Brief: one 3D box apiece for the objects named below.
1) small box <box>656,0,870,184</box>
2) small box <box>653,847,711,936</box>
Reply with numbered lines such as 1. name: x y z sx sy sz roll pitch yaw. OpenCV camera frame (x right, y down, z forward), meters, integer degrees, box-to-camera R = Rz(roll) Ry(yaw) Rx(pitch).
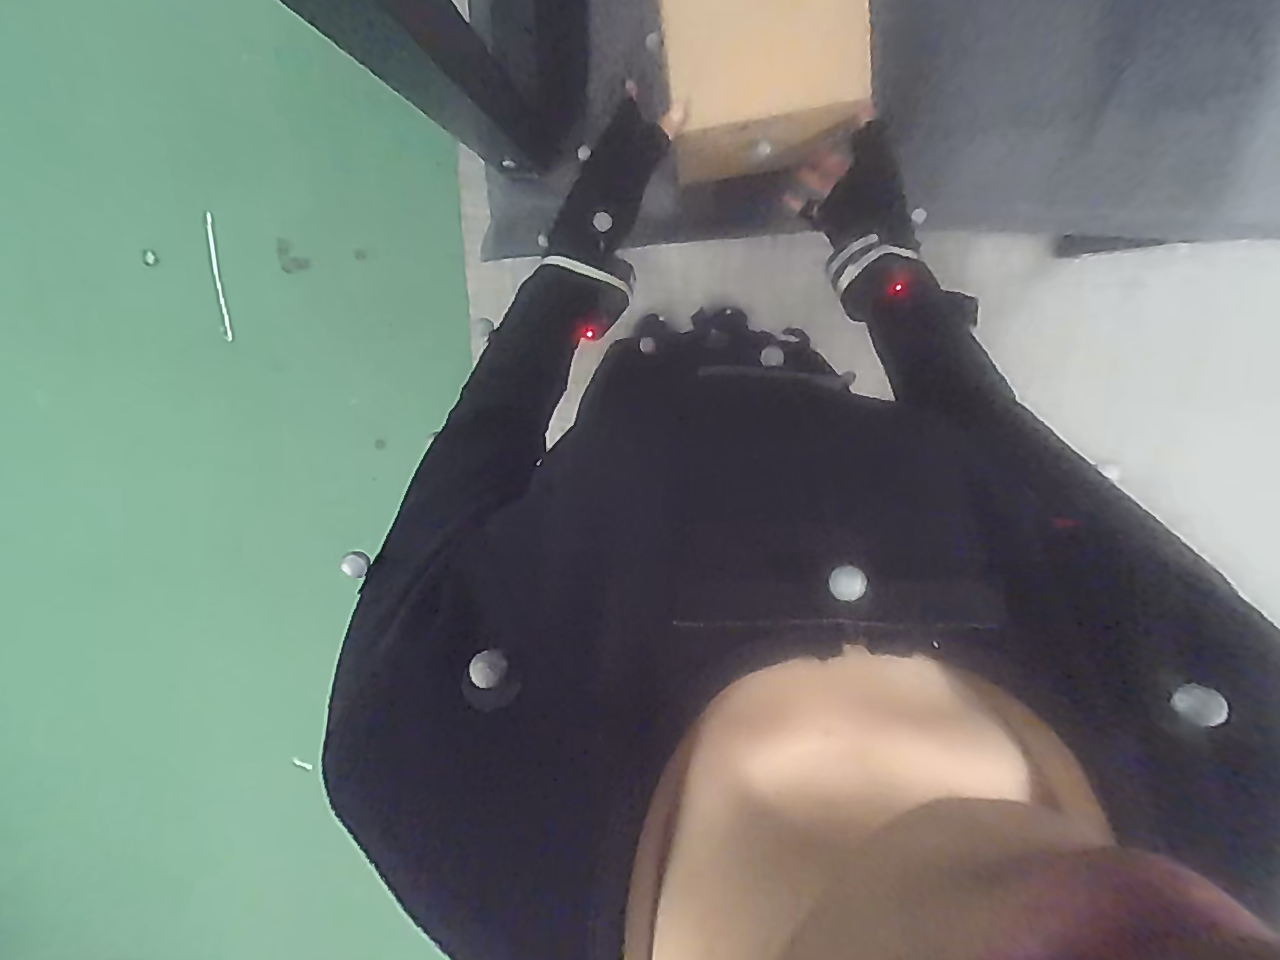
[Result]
1. small box: 0.106 -0.412 0.513 0.168 0.176 0.179 -7 103 6
2. small box: 0.142 1.405 1.855 0.168 0.176 0.179 10 108 1
